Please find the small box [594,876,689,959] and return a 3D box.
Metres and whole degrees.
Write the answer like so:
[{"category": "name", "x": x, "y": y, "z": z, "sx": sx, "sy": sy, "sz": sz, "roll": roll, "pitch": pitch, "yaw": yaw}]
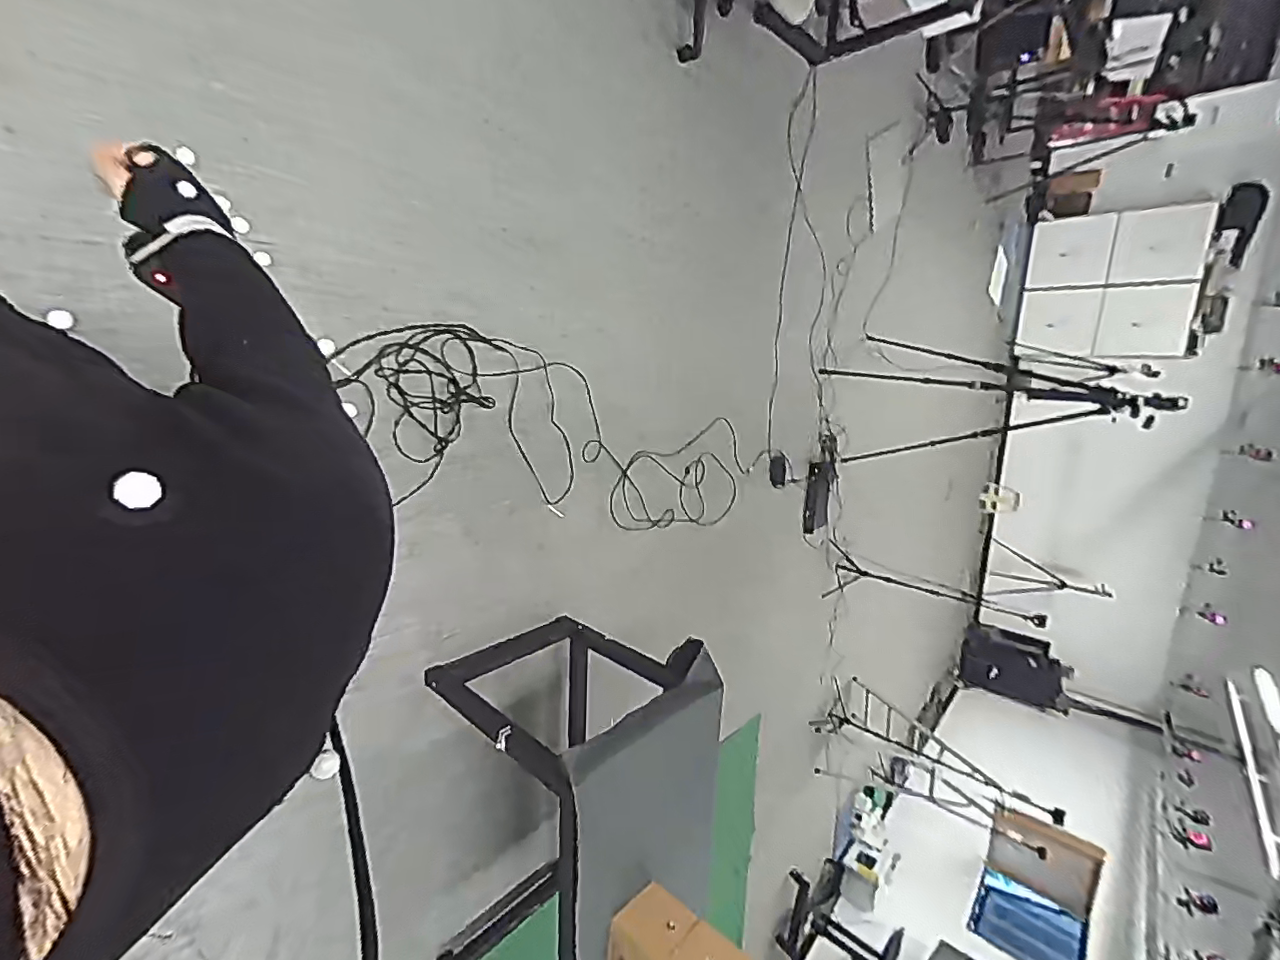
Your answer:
[{"category": "small box", "x": 0.004, "y": 1.208, "z": 1.428, "sx": 0.179, "sy": 0.176, "sz": 0.168, "roll": -4, "pitch": 102, "yaw": -49}]
